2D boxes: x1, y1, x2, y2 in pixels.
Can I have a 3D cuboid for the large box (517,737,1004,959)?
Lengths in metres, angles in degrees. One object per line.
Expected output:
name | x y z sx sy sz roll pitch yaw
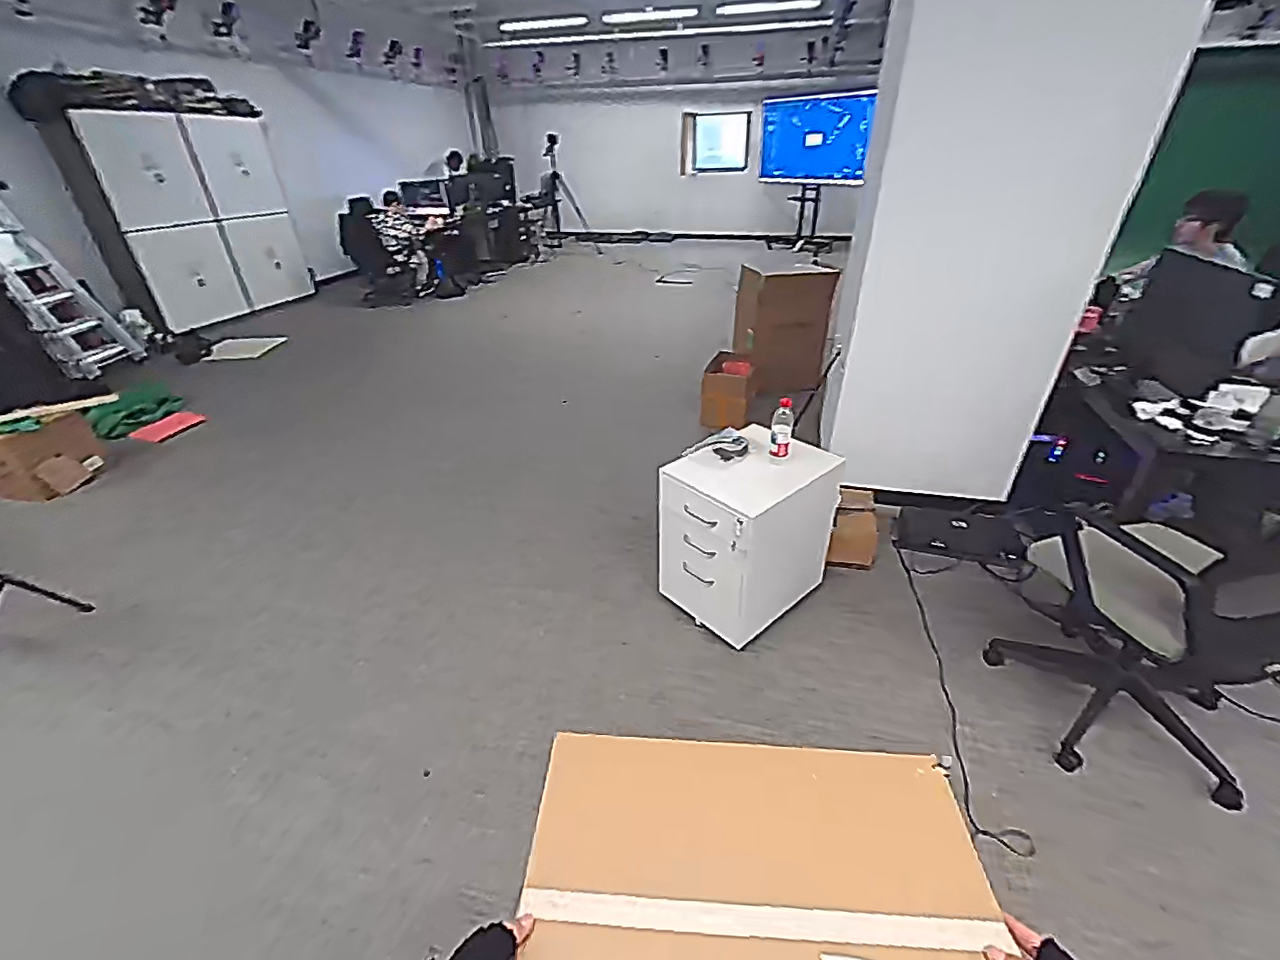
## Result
large box | 0.096 0.497 0.543 0.408 0.320 0.320 2 34 2
